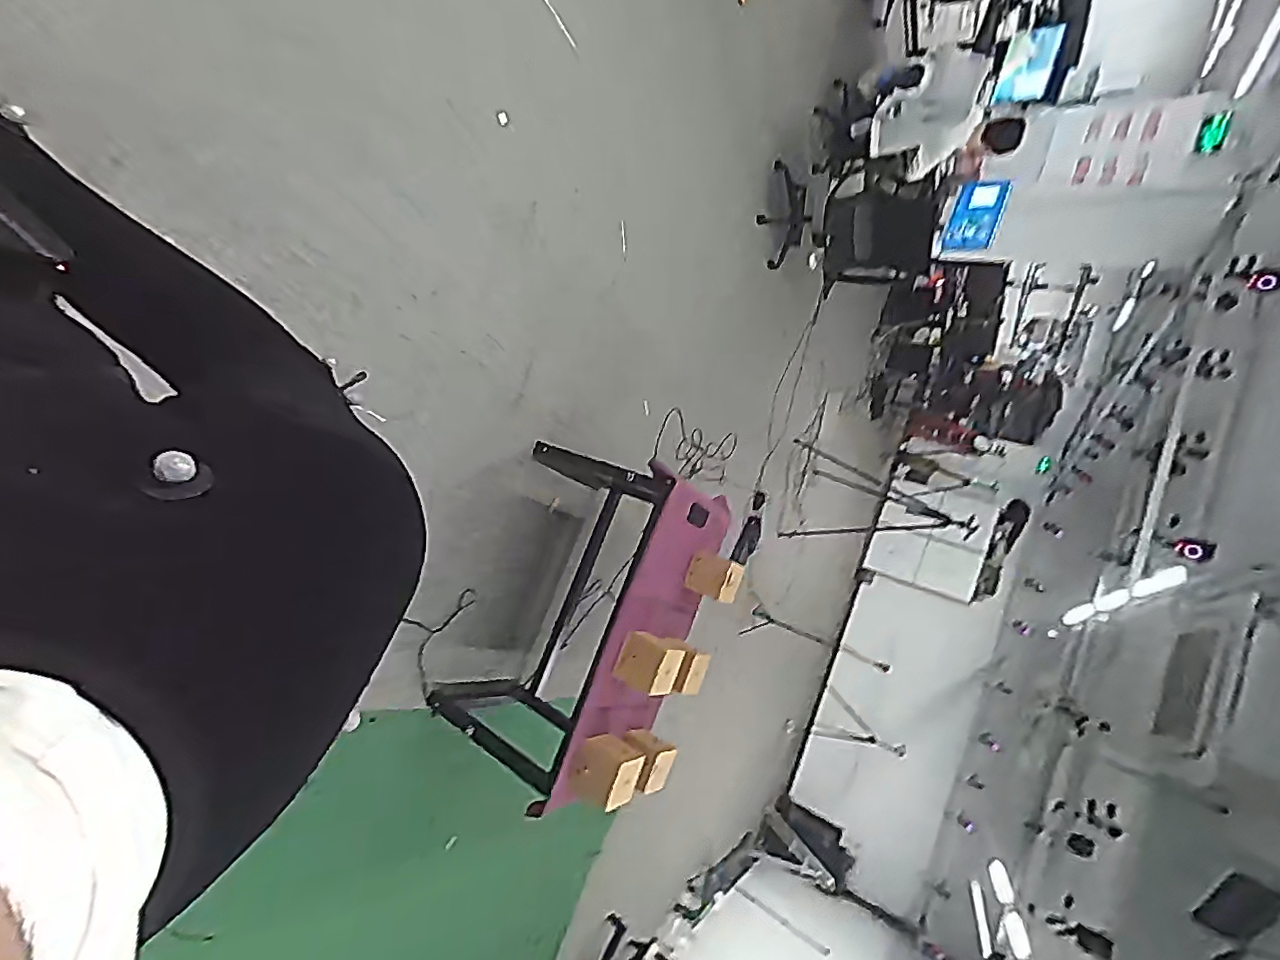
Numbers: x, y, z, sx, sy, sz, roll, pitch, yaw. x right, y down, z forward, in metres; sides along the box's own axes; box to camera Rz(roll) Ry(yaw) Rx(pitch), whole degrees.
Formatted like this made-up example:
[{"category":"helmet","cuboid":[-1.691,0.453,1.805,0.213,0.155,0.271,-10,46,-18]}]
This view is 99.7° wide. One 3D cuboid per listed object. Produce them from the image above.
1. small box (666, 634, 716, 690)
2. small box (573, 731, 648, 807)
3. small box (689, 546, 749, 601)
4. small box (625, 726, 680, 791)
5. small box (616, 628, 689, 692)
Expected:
[{"category":"small box","cuboid":[0.178,0.738,2.196,0.179,0.176,0.168,33,77,-56]},{"category":"small box","cuboid":[-0.103,1.005,1.899,0.179,0.176,0.168,30,78,-56]},{"category":"small box","cuboid":[0.326,0.385,2.236,0.179,0.176,0.168,31,79,-57]},{"category":"small box","cuboid":[0.029,1.096,2.148,0.179,0.176,0.168,35,75,-57]},{"category":"small box","cuboid":[0.046,0.646,1.952,0.179,0.176,0.168,32,79,-57]}]
